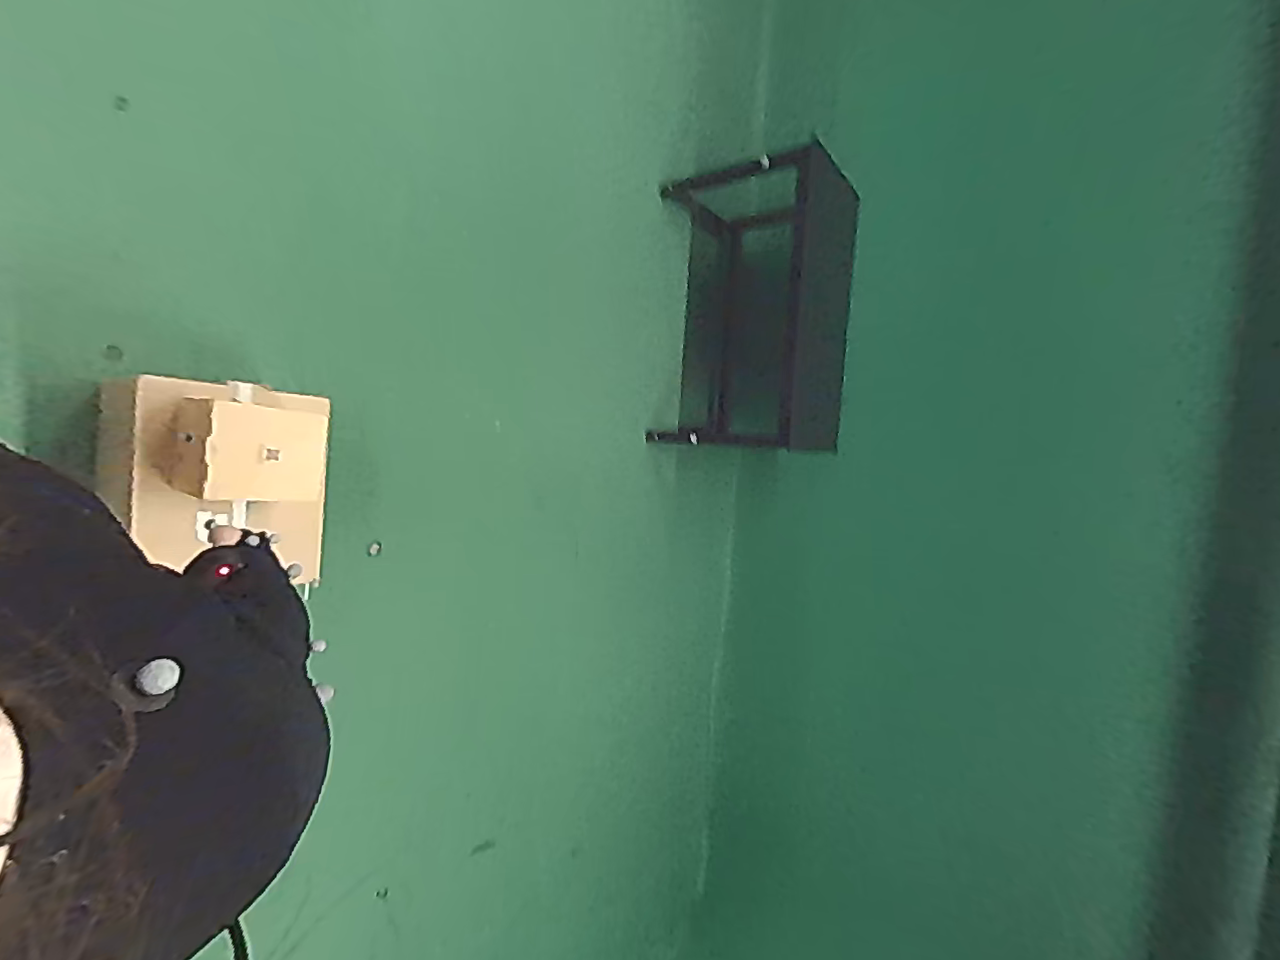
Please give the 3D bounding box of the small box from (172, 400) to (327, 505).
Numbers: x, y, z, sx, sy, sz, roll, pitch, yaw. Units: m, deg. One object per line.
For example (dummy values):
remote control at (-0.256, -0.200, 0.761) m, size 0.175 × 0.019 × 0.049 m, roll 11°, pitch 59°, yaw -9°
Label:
small box at (-0.699, -0.050, 0.970) m, size 0.179 × 0.176 × 0.168 m, roll 5°, pitch 92°, yaw -53°

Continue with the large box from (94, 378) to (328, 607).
large box at (-0.893, 0.008, 1.128) m, size 0.320 × 0.320 × 0.408 m, roll 2°, pitch 95°, yaw -53°
